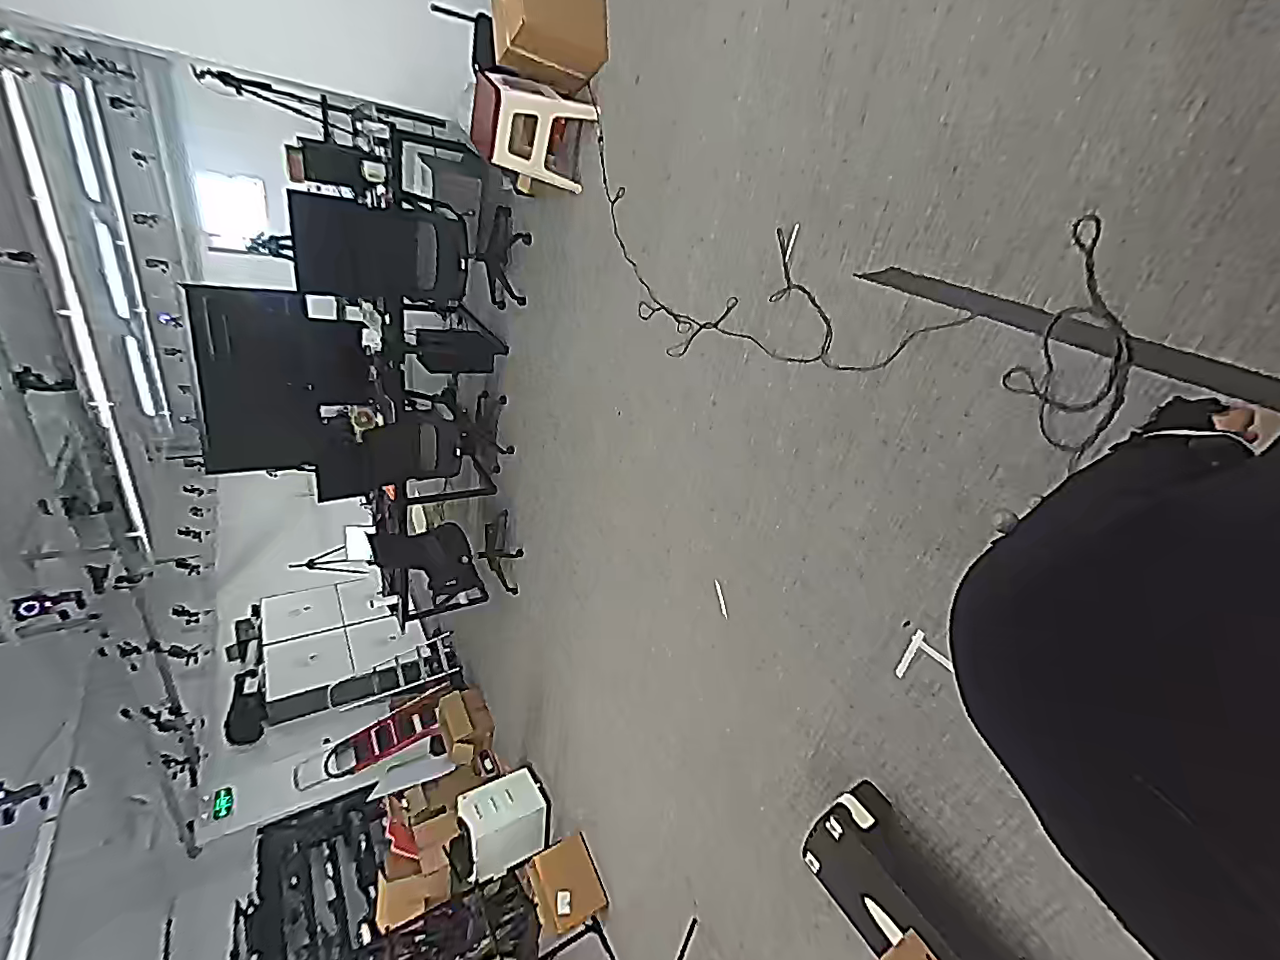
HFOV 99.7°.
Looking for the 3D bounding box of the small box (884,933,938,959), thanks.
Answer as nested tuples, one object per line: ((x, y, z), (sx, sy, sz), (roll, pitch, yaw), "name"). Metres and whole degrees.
((0.678, 1.301, 1.356), (0.168, 0.176, 0.179), (44, 132, 42), "small box")

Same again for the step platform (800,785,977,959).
((0.775, 1.254, 1.517), (0.684, 0.204, 0.286), (42, 131, 43), "step platform")
